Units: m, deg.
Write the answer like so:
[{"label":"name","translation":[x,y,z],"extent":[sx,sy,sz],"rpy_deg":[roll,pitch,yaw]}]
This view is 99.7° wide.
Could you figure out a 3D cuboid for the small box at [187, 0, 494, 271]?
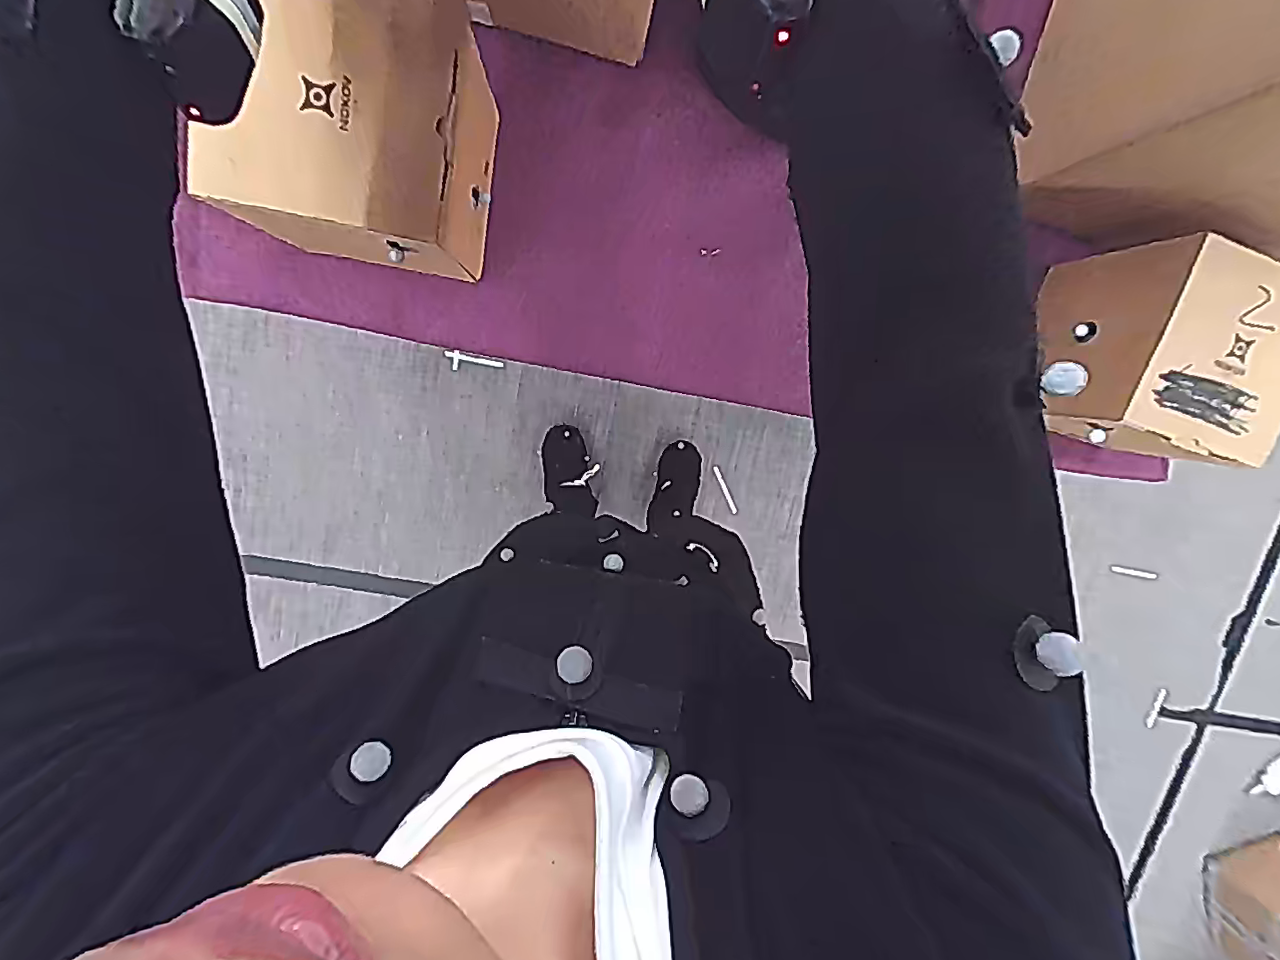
[{"label":"small box","translation":[-0.233,-0.289,0.461],"extent":[0.179,0.176,0.168],"rpy_deg":[8,100,-9]}]

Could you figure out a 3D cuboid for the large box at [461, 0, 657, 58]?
[{"label":"large box","translation":[-0.093,-0.600,0.339],"extent":[0.320,0.320,0.408],"rpy_deg":[9,103,-8]}]
